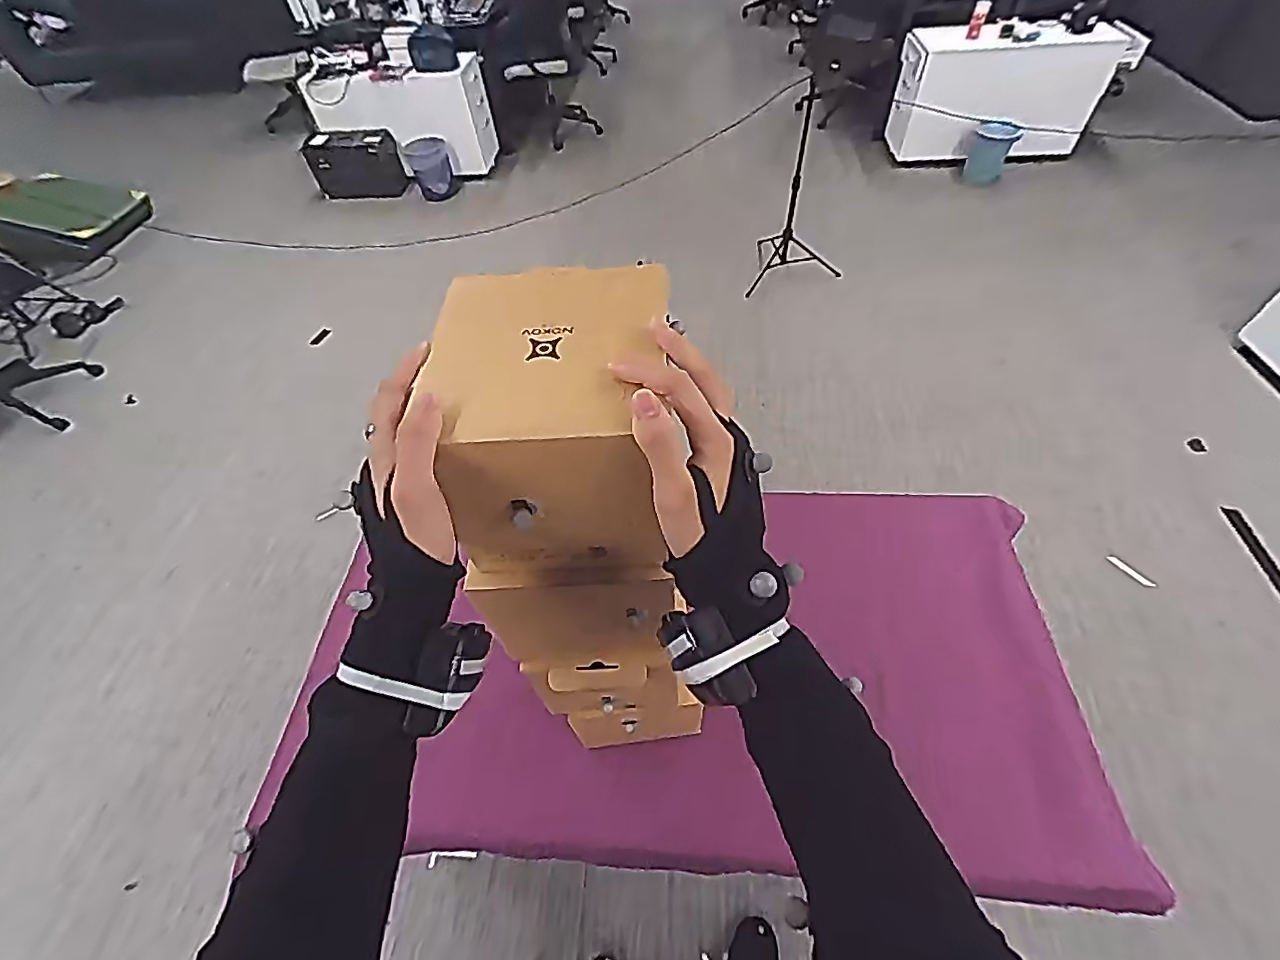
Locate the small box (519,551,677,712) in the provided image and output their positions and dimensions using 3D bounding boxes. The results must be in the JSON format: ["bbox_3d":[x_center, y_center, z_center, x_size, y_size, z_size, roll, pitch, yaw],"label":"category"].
[{"bbox_3d":[-0.041,0.172,0.669,0.168,0.176,0.179,-3,53,3],"label":"small box"}]

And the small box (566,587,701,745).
[{"bbox_3d":[-0.010,0.277,0.793,0.179,0.176,0.168,-7,53,-2],"label":"small box"}]

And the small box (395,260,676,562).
[{"bbox_3d":[-0.058,-0.045,0.425,0.168,0.176,0.179,-2,52,3],"label":"small box"}]
